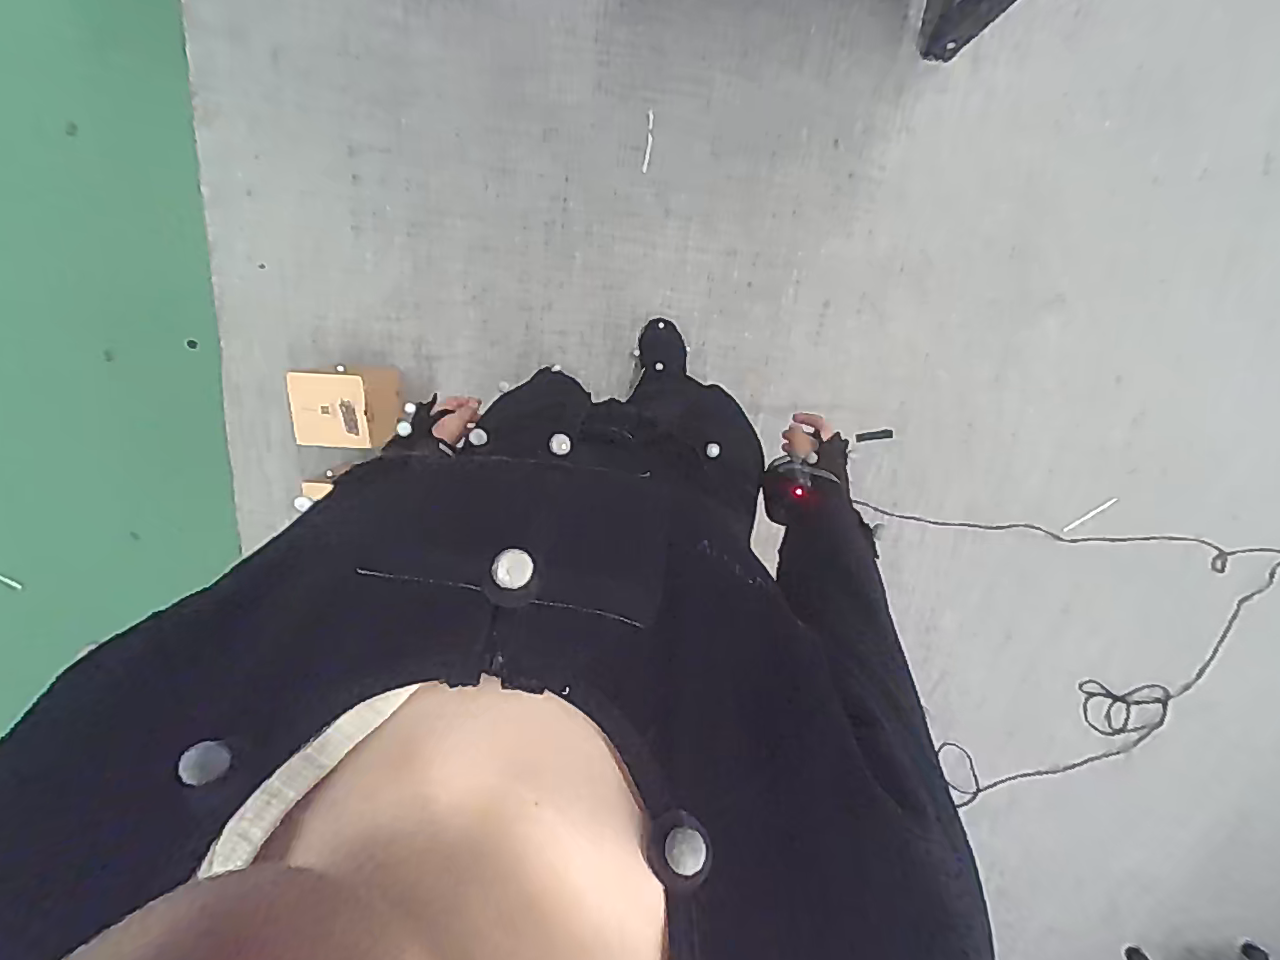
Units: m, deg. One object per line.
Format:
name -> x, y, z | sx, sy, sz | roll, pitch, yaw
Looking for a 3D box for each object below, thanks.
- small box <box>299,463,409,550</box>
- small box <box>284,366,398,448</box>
small box -> -0.703, 0.060, 1.343 | 0.179, 0.176, 0.168 | 3, 108, 1
small box -> -0.688, -0.177, 1.270 | 0.179, 0.176, 0.168 | 3, 106, 2
